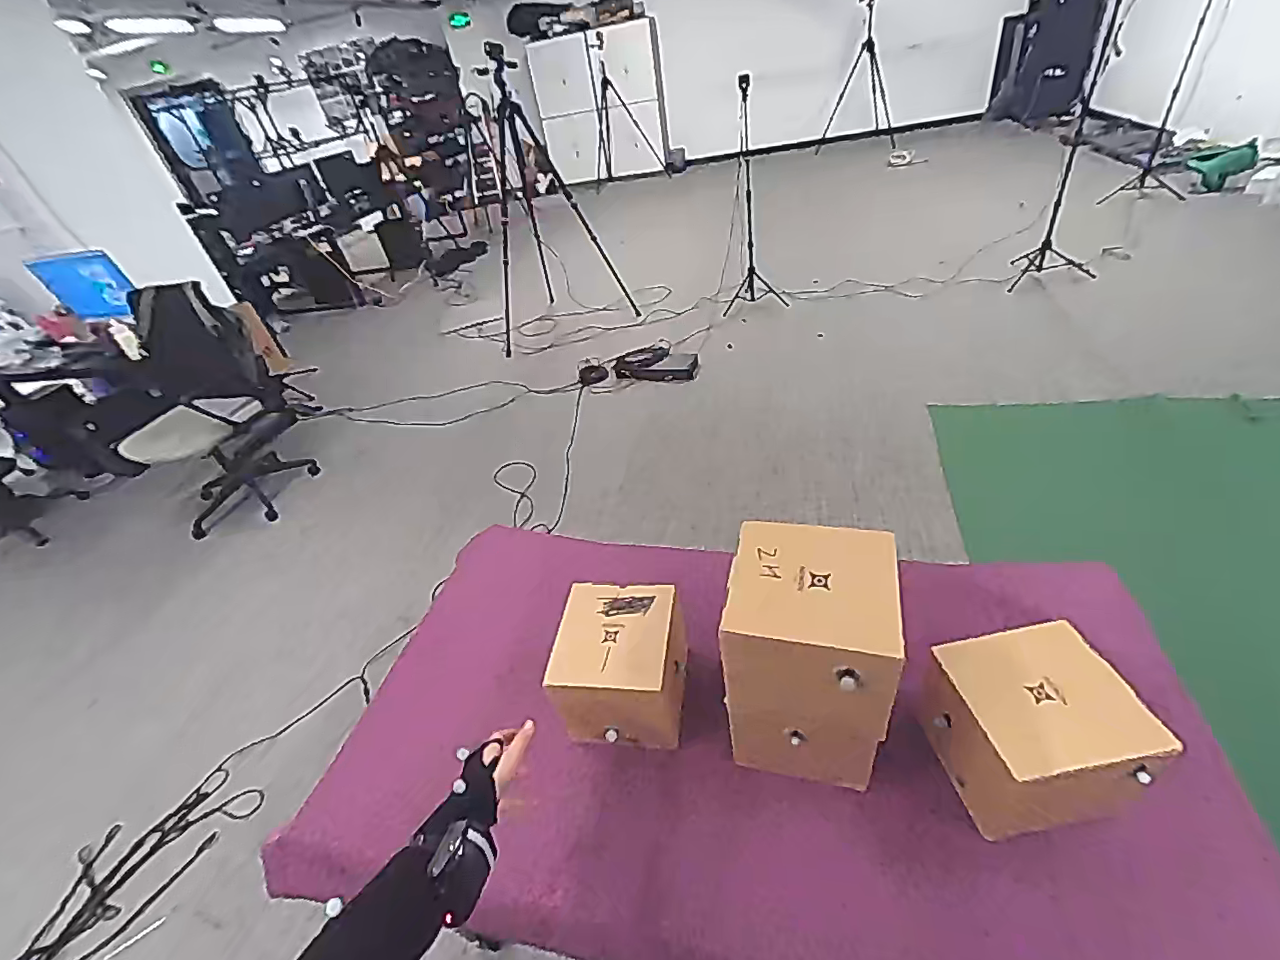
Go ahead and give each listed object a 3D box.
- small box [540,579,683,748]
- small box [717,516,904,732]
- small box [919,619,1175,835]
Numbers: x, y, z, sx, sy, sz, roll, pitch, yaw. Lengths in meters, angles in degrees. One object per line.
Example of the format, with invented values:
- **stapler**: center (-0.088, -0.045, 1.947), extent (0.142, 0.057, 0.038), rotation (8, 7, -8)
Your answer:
- **small box**: center (-0.030, 0.272, 0.814), extent (0.168, 0.176, 0.179), rotation (-1, 40, 13)
- **small box**: center (0.195, 0.165, 0.627), extent (0.179, 0.176, 0.168), rotation (4, 41, 19)
- **small box**: center (0.463, 0.301, 0.656), extent (0.179, 0.176, 0.168), rotation (-11, 37, 0)
